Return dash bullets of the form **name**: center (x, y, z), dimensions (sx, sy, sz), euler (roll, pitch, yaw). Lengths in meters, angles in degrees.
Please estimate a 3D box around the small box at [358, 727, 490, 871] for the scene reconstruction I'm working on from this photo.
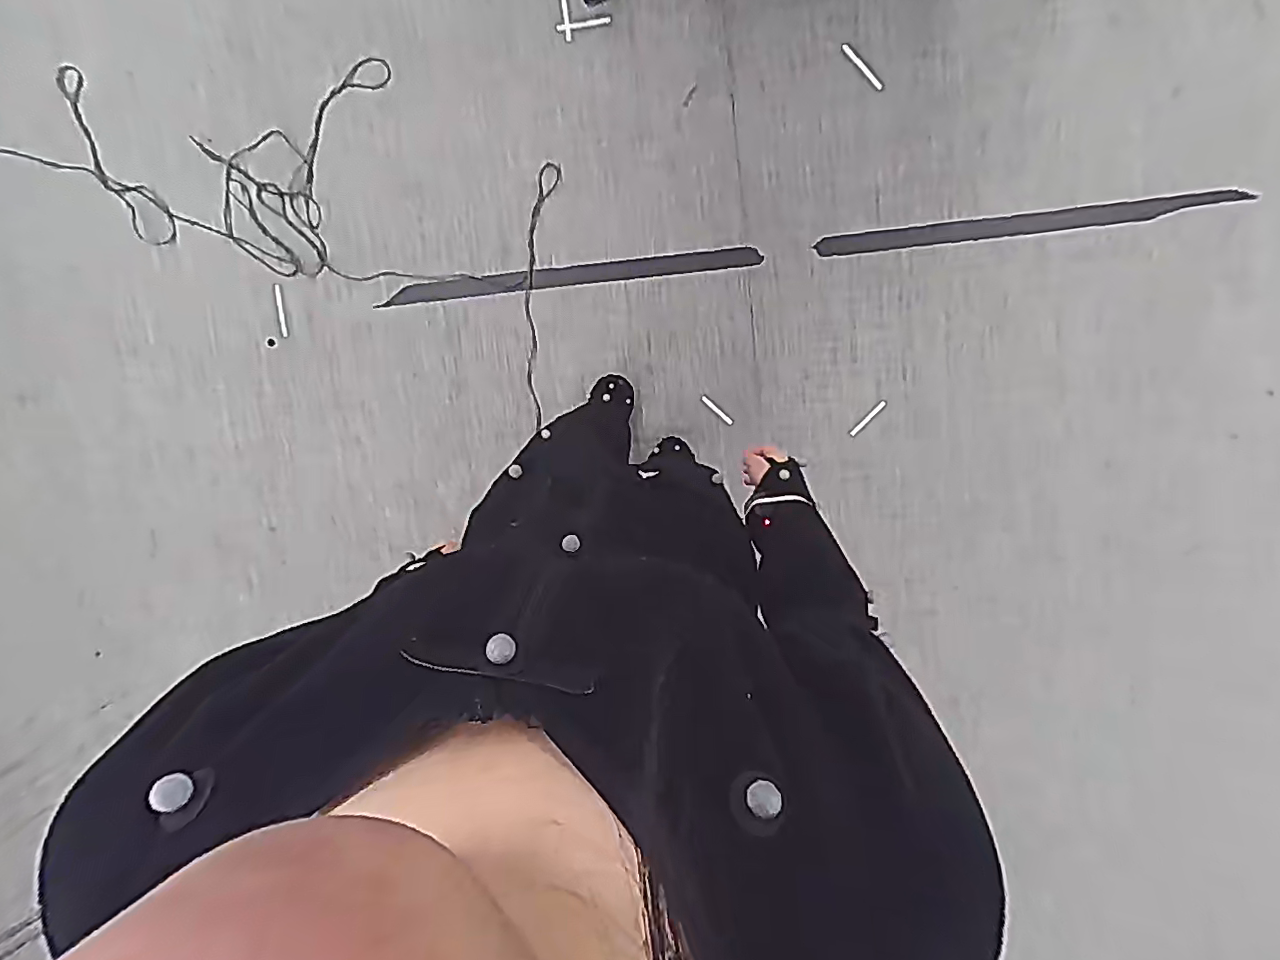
- **small box**: center (-0.461, 0.687, 1.187), dimensions (0.179, 0.176, 0.168), euler (41, 95, -1)
